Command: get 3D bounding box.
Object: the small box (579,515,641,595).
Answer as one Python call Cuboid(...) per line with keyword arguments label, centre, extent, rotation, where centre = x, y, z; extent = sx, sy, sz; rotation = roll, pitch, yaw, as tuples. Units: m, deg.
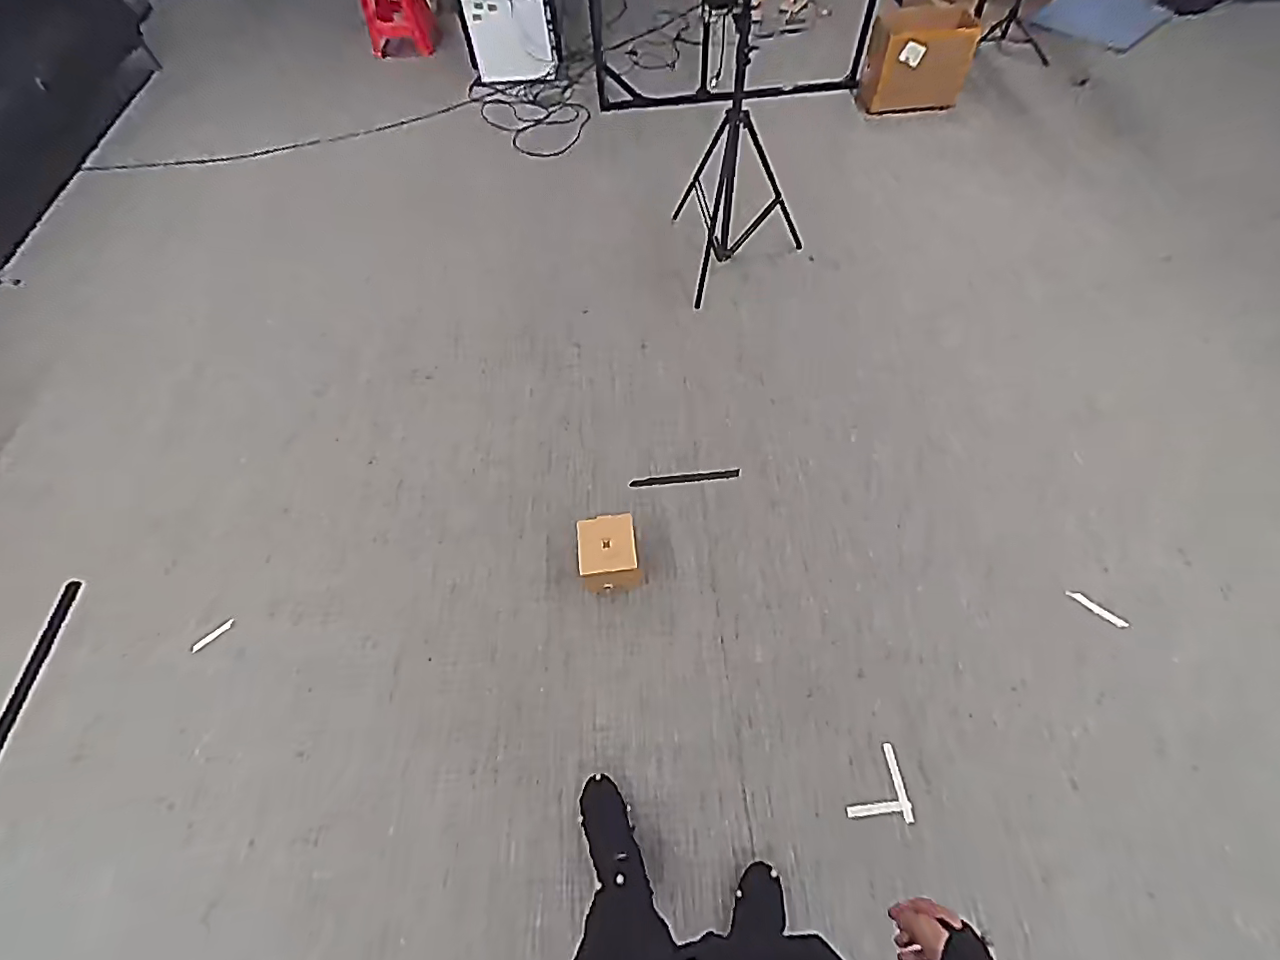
Cuboid(label="small box", centre=(-0.088, 0.227, 1.617), extent=(0.168, 0.176, 0.179), rotation=(-7, 60, 0))
